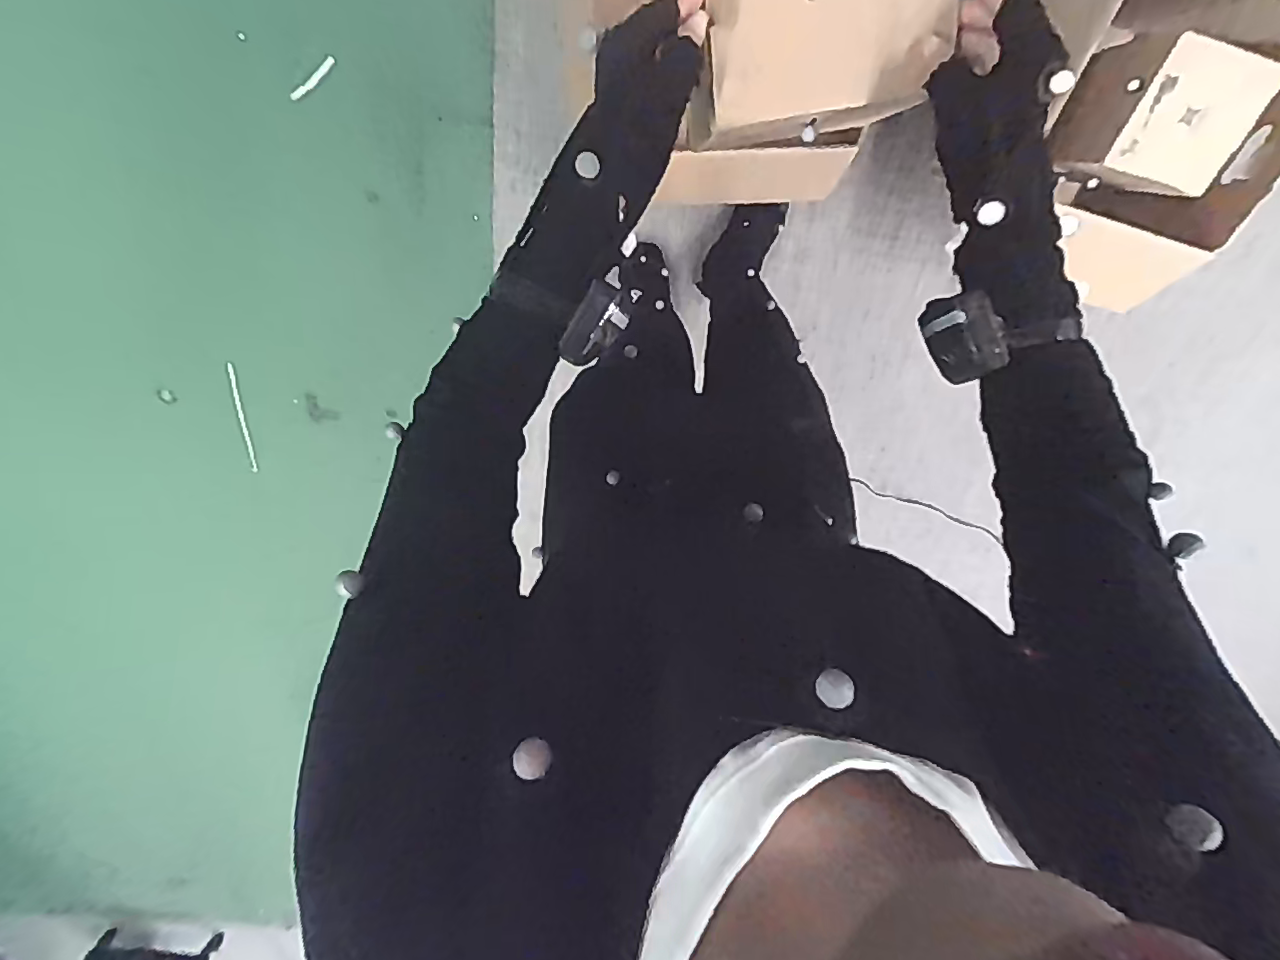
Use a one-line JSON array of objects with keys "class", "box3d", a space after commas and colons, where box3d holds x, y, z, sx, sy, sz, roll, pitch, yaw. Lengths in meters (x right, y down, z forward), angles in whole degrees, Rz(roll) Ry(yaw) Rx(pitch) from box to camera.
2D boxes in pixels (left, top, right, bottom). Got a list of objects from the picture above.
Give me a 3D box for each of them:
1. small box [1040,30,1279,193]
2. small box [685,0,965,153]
[{"class": "small box", "box3d": [0.802, -0.574, 0.857, 0.179, 0.176, 0.168, 12, 120, -7]}, {"class": "small box", "box3d": [0.130, -0.374, 0.432, 0.179, 0.176, 0.168, -9, 117, 2]}]
